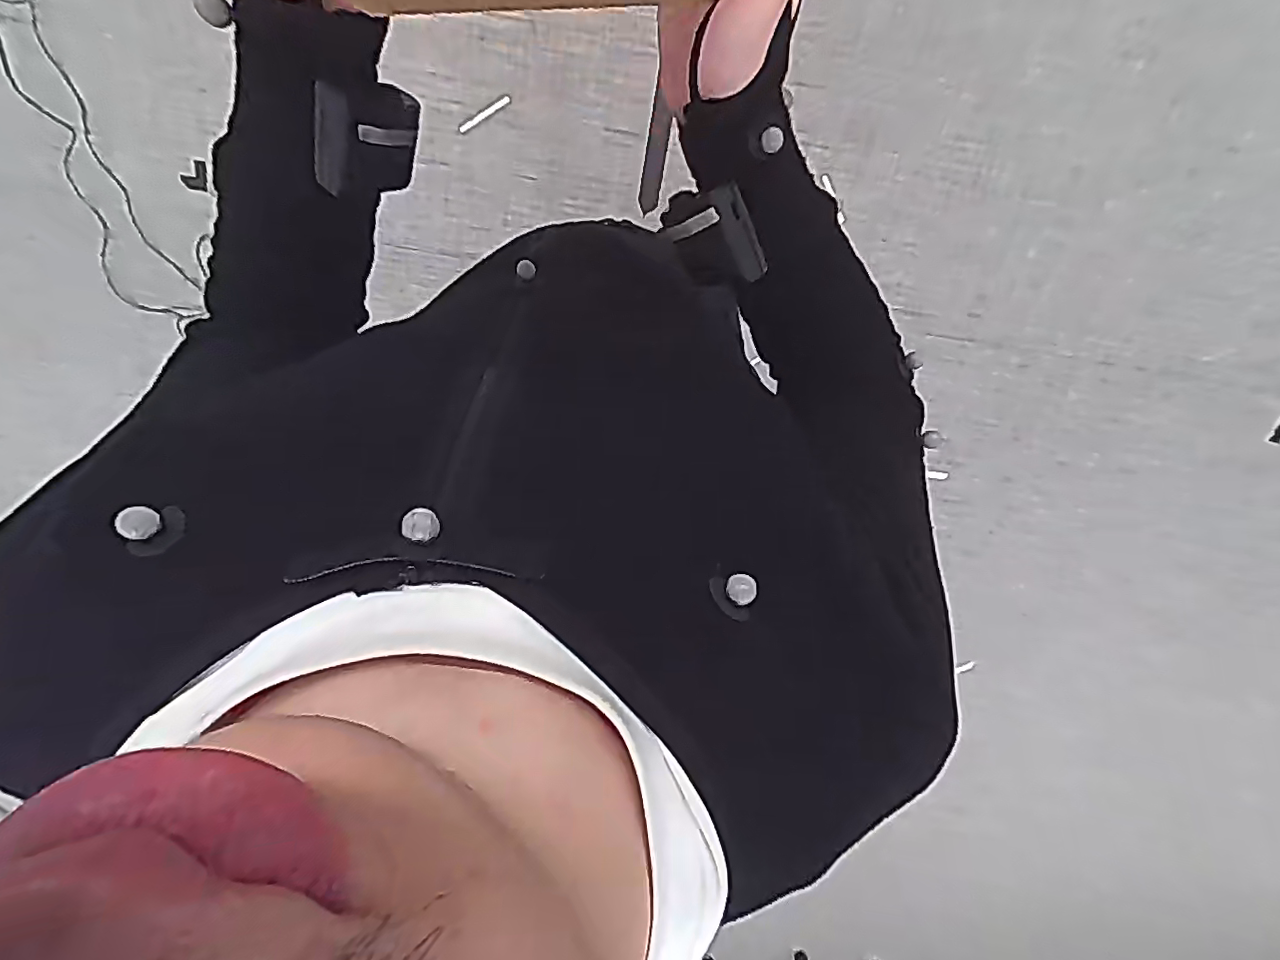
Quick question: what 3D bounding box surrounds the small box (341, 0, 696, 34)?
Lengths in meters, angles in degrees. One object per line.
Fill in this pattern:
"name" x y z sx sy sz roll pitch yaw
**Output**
"small box" -0.049 -0.266 0.168 0.179 0.176 0.168 -2 117 2
